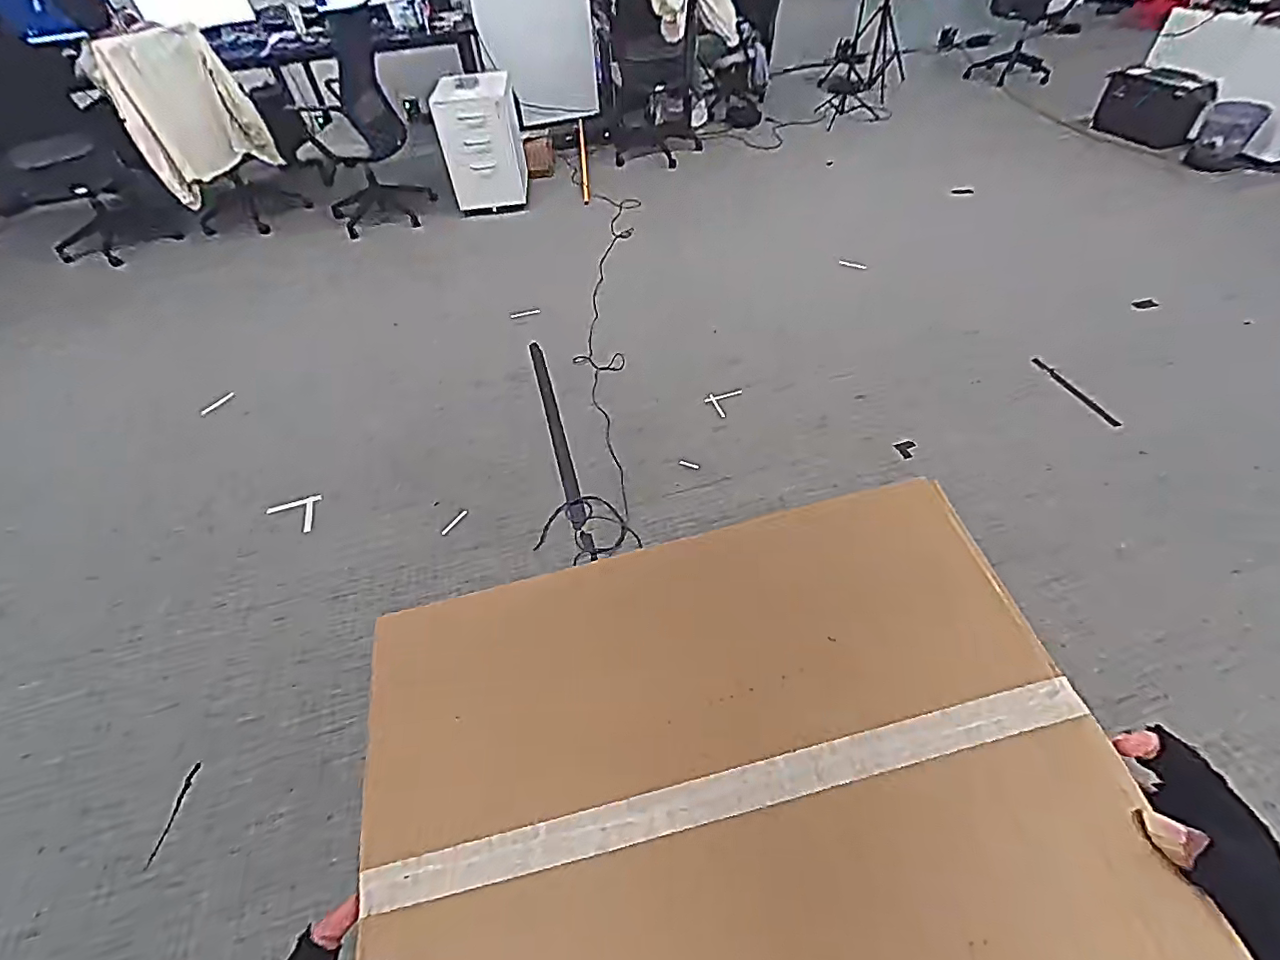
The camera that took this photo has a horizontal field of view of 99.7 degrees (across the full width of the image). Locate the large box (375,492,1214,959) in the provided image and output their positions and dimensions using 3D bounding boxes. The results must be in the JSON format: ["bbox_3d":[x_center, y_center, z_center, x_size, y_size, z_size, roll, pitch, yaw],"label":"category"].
[{"bbox_3d":[0.065,0.261,0.430,0.408,0.320,0.320,-15,55,-2],"label":"large box"}]
